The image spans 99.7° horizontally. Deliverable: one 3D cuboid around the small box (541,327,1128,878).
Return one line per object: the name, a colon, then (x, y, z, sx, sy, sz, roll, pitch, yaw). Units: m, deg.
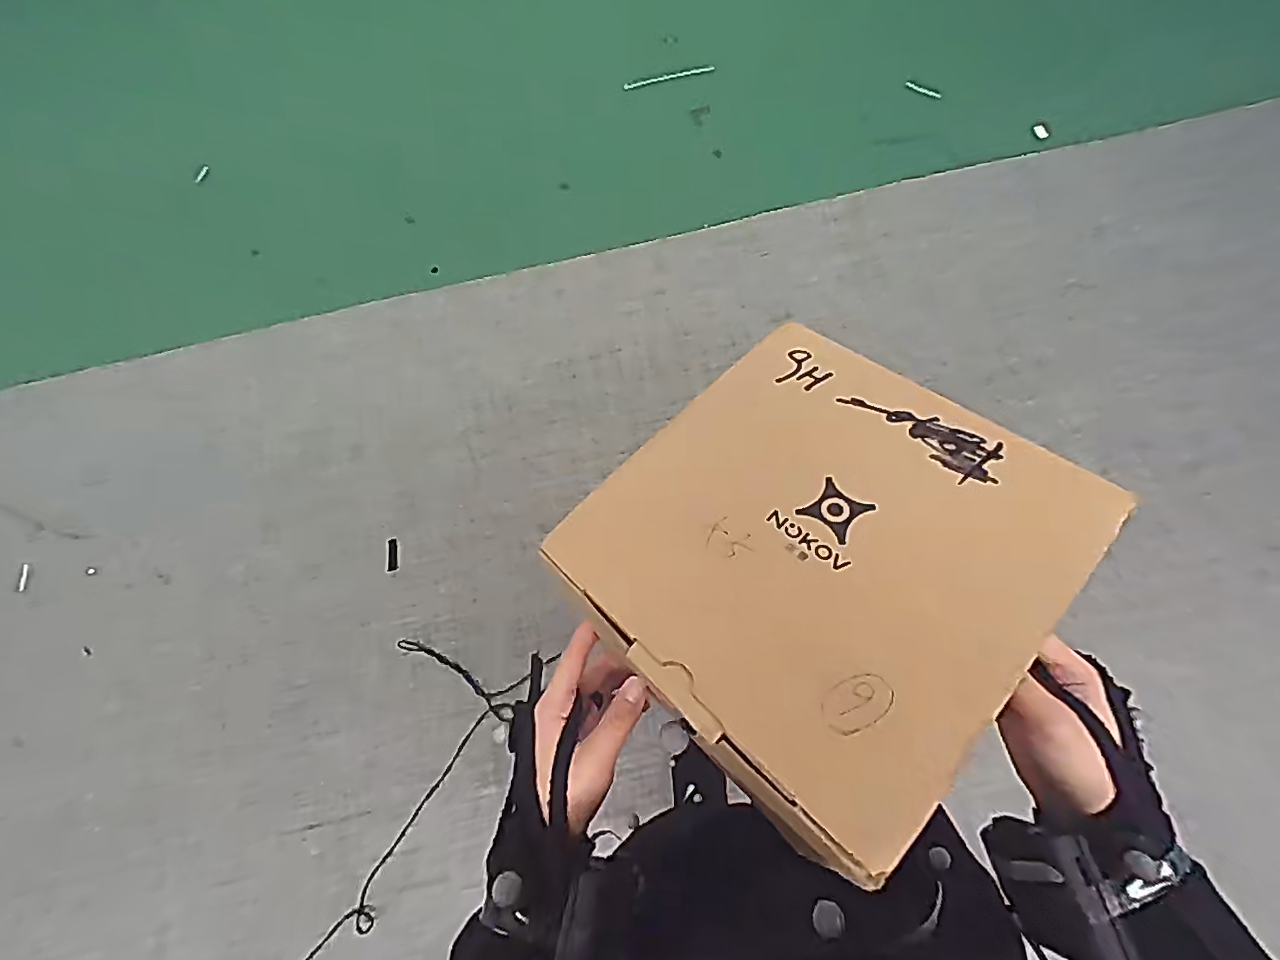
small box: (0.084, 0.062, 0.286, 0.179, 0.176, 0.168, -43, 61, -16)
